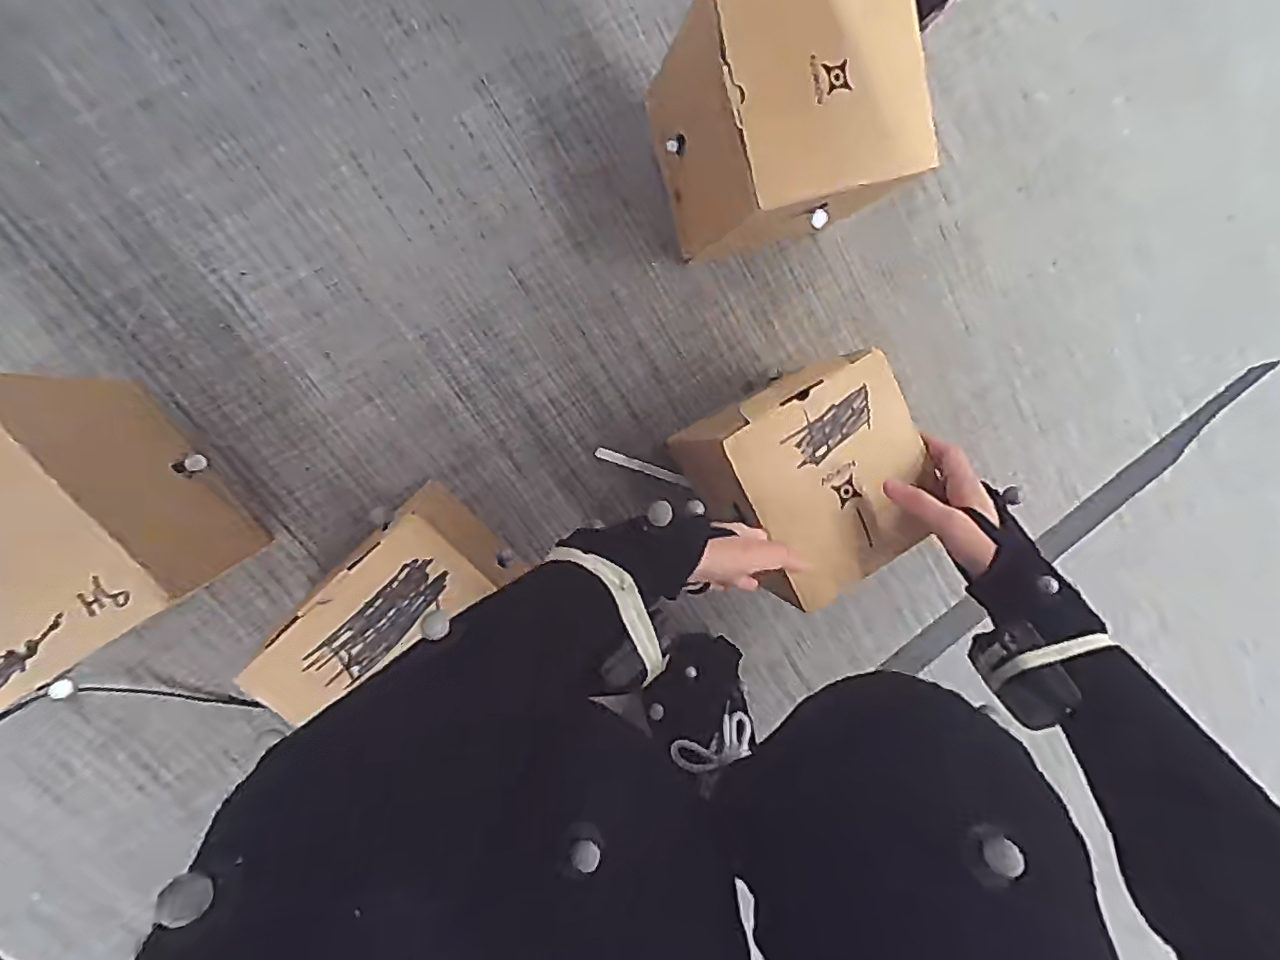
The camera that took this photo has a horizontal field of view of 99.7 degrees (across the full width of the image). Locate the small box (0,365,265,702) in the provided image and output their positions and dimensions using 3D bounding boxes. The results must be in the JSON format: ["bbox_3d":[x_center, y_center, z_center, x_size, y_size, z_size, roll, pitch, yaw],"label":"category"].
[{"bbox_3d":[-0.429,0.039,0.393,0.168,0.176,0.179,-33,103,-9],"label":"small box"}]

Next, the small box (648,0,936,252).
[{"bbox_3d":[0.127,-0.327,0.494,0.179,0.176,0.168,-19,102,-11],"label":"small box"}]
